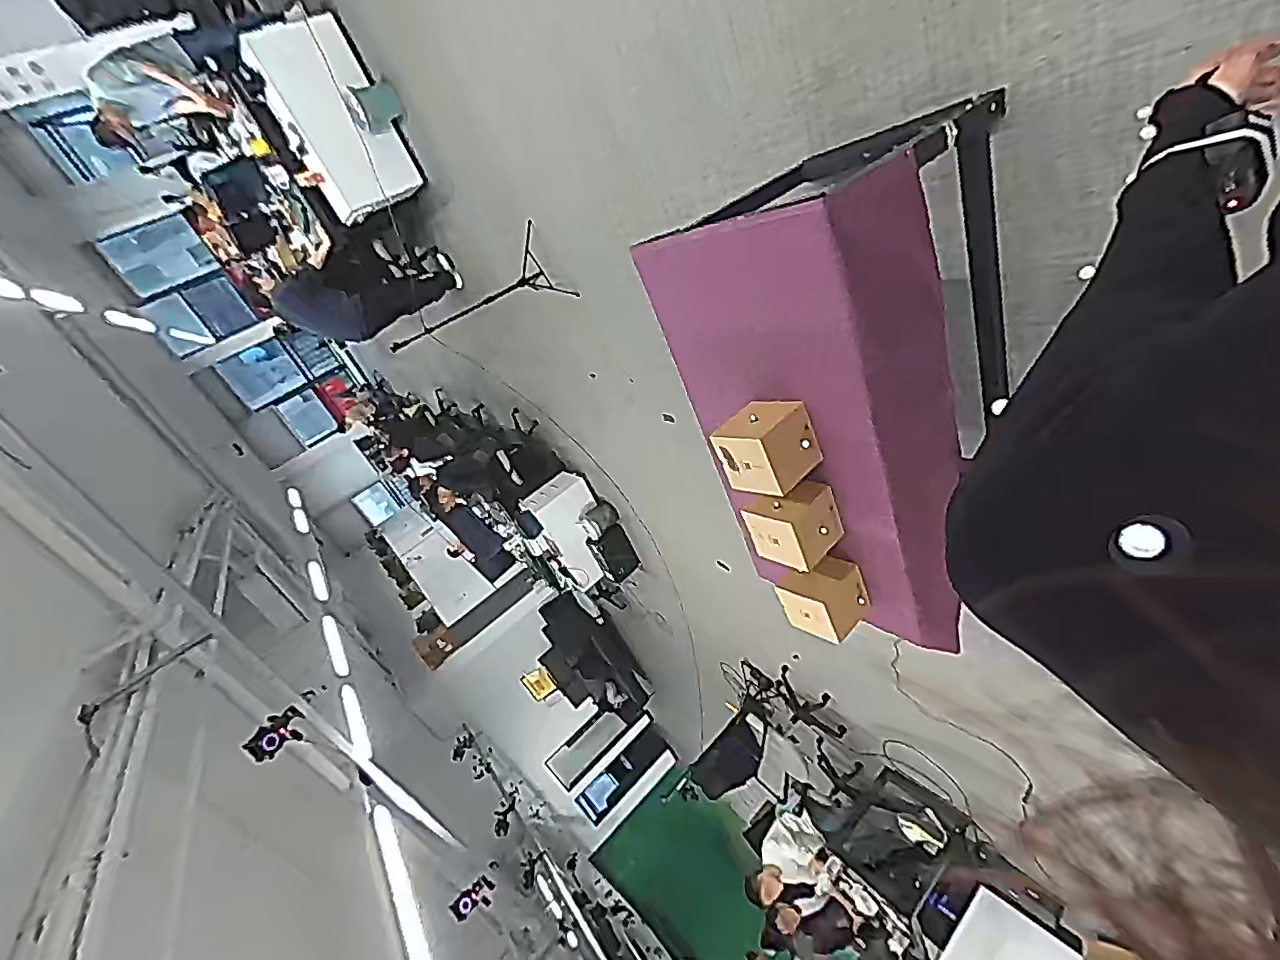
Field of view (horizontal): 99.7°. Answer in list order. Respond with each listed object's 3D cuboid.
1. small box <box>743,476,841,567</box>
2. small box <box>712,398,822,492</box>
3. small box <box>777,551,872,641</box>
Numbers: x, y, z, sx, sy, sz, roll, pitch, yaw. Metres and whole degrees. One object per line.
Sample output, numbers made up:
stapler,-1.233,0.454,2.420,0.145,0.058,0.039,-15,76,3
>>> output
small box,0.415,0.101,1.453,0.179,0.176,0.168,16,139,54
small box,0.318,-0.093,1.346,0.179,0.176,0.168,11,135,56
small box,0.535,0.323,1.563,0.179,0.176,0.168,14,138,56
